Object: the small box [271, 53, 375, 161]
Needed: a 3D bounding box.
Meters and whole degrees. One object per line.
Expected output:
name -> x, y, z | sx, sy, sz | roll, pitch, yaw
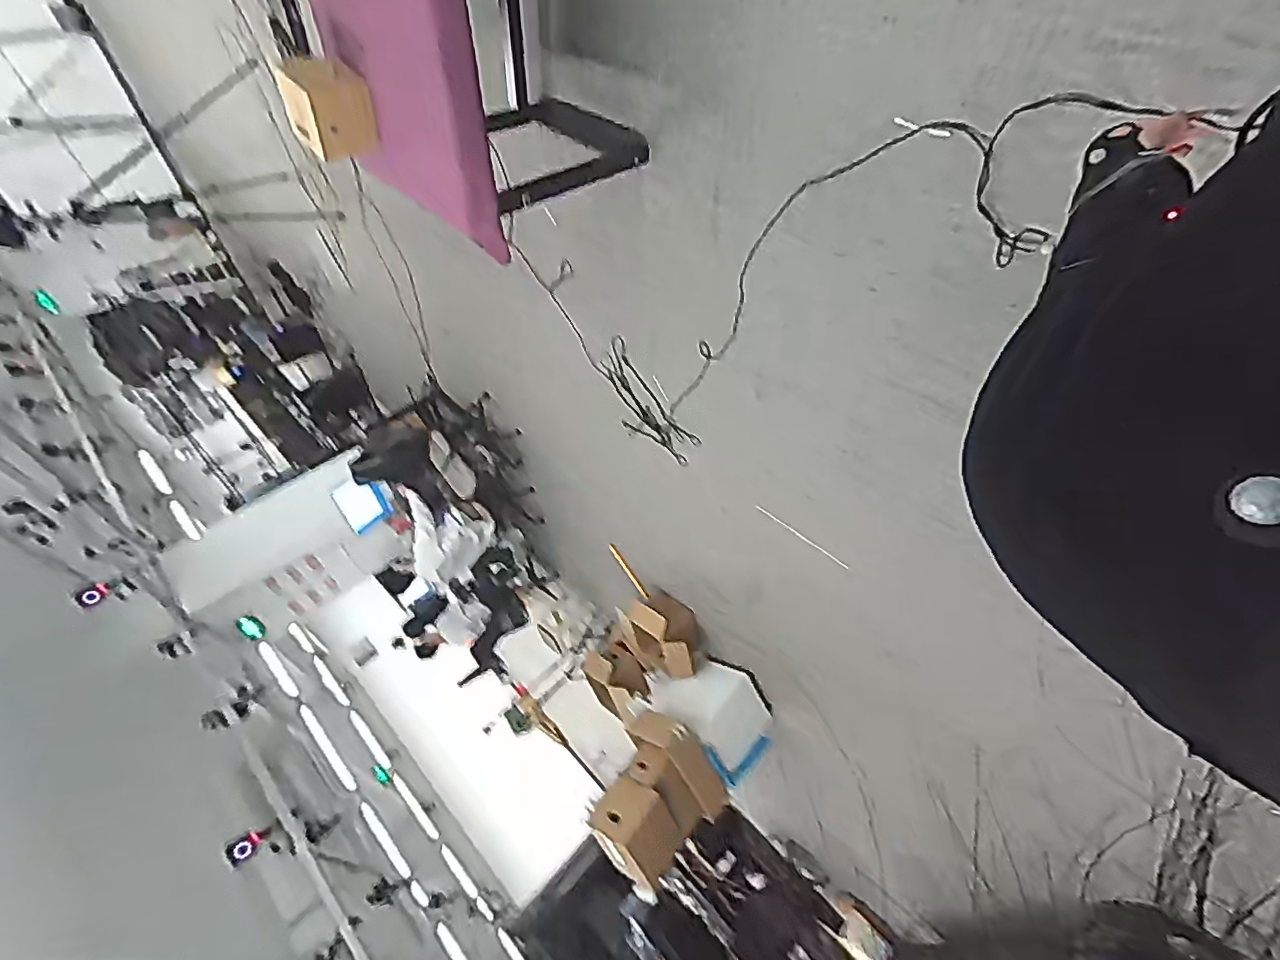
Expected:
small box -> -0.853, -1.020, 1.477 | 0.168, 0.176, 0.179 | 43, 149, 13
